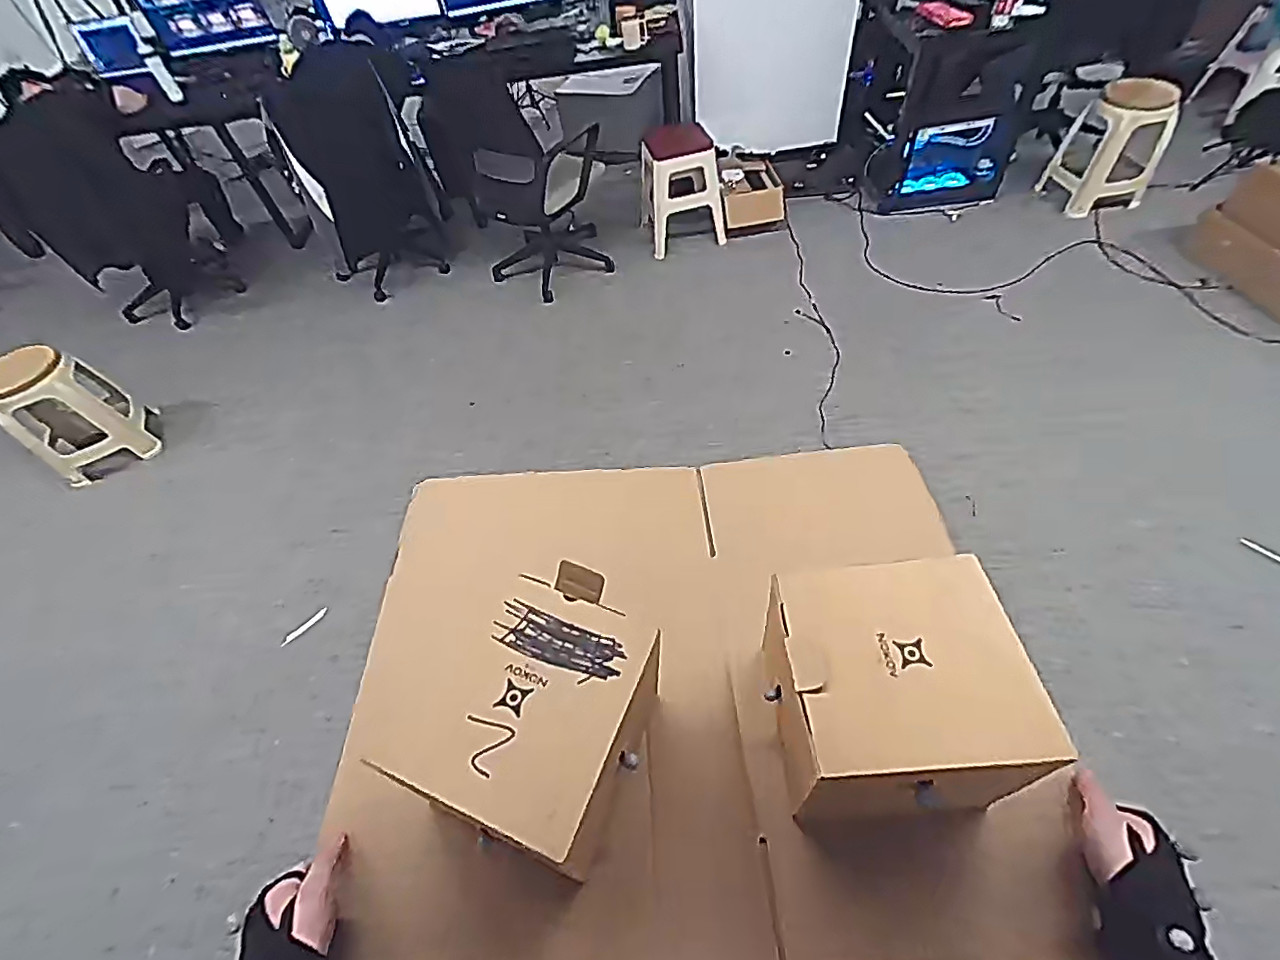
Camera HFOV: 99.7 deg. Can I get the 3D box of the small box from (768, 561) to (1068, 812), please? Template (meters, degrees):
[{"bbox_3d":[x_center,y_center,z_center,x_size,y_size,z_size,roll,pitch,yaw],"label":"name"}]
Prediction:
[{"bbox_3d":[0.223,0.193,0.495,0.179,0.176,0.168,-7,50,4],"label":"small box"}]
